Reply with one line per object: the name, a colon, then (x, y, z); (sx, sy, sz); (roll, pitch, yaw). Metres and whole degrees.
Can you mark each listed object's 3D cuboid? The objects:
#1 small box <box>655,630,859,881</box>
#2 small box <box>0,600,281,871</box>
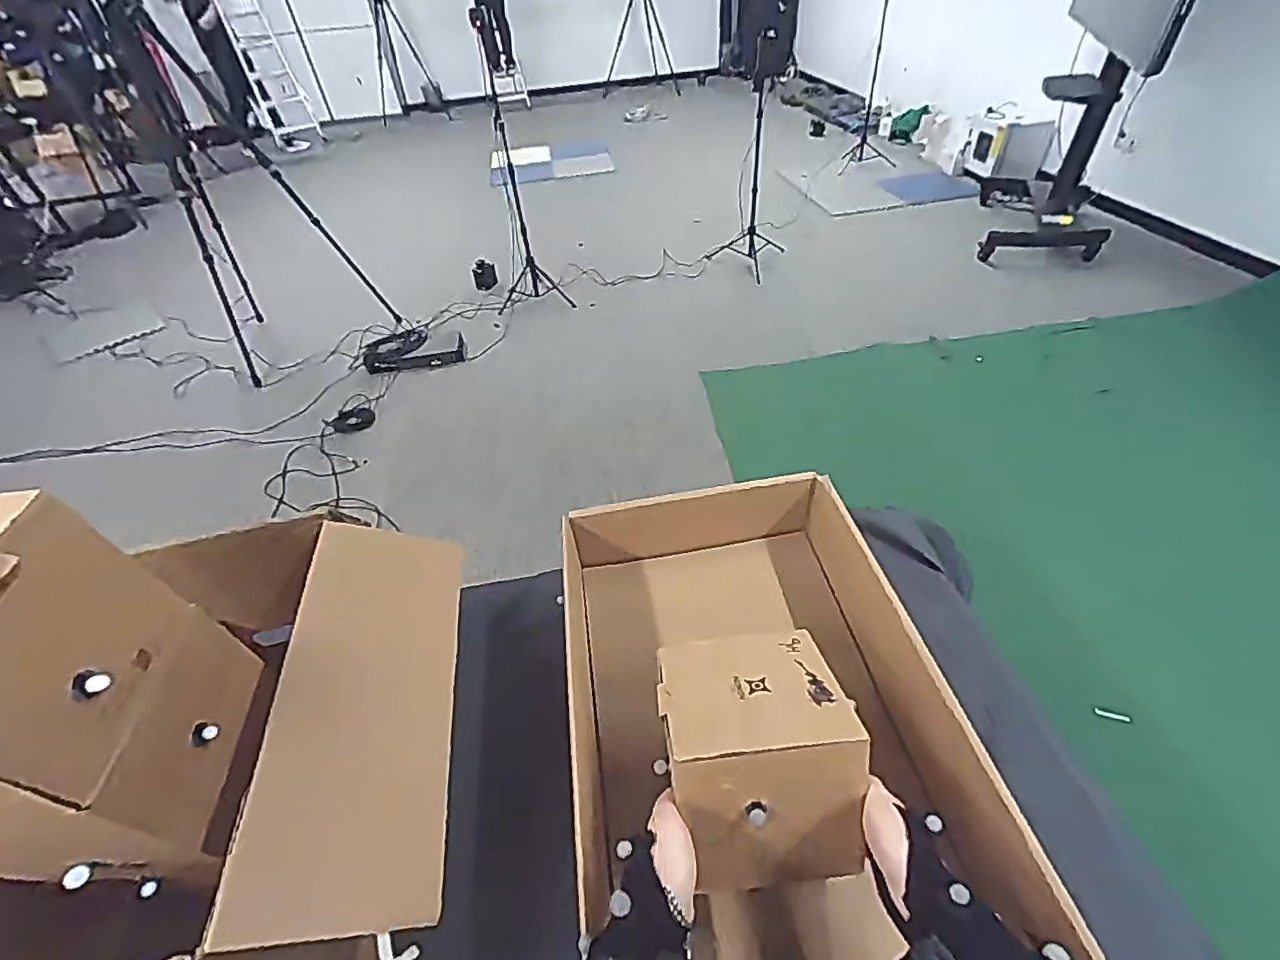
small box: (0.115, 0.285, 0.574); (0.179, 0.176, 0.168); (-6, 20, 0)
small box: (-0.478, 0.238, 0.506); (0.168, 0.176, 0.179); (-7, 47, -2)
